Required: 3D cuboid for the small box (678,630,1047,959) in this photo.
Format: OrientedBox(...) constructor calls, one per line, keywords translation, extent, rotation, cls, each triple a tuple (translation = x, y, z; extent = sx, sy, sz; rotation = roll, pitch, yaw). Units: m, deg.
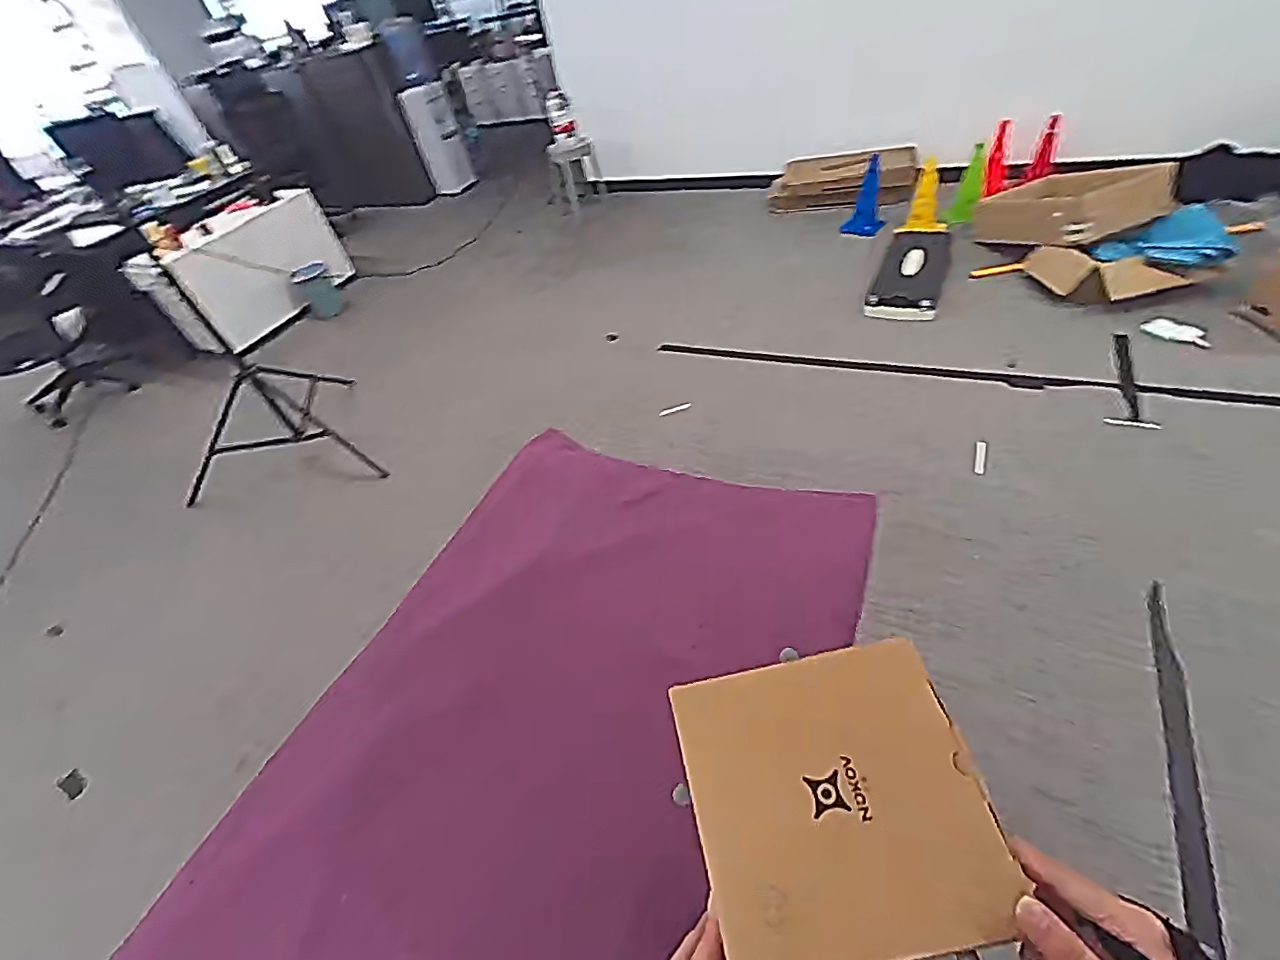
OrientedBox(translation=(0.135, 0.234, 0.403), extent=(0.179, 0.176, 0.168), rotation=(-12, 55, 0), cls="small box")
